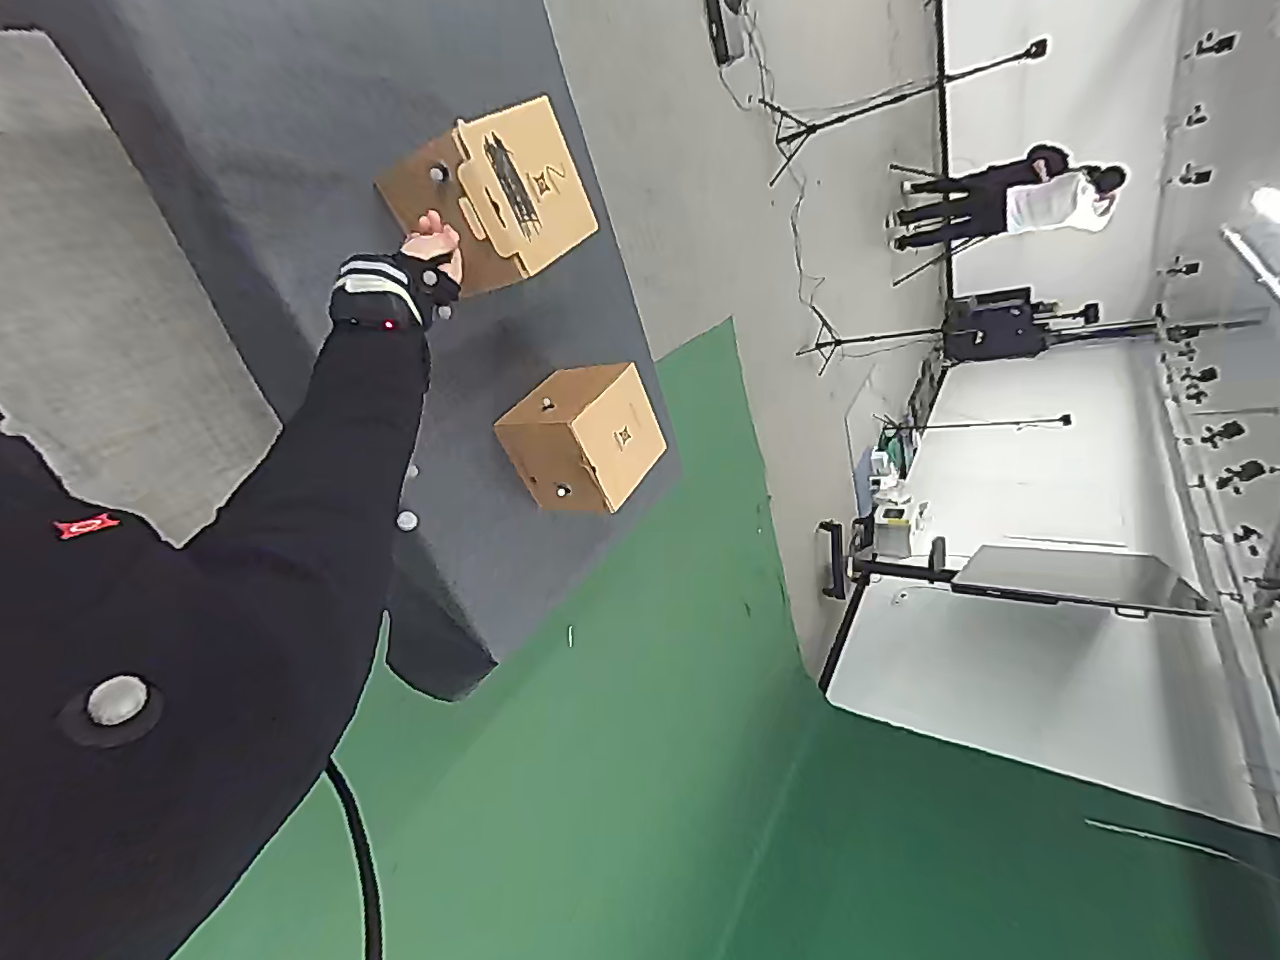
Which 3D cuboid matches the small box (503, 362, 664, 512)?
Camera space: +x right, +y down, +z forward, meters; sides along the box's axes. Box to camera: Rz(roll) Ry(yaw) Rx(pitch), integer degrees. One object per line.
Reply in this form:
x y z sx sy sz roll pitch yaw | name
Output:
-0.093 -0.069 0.862 0.179 0.176 0.168 -53 133 -39 | small box
